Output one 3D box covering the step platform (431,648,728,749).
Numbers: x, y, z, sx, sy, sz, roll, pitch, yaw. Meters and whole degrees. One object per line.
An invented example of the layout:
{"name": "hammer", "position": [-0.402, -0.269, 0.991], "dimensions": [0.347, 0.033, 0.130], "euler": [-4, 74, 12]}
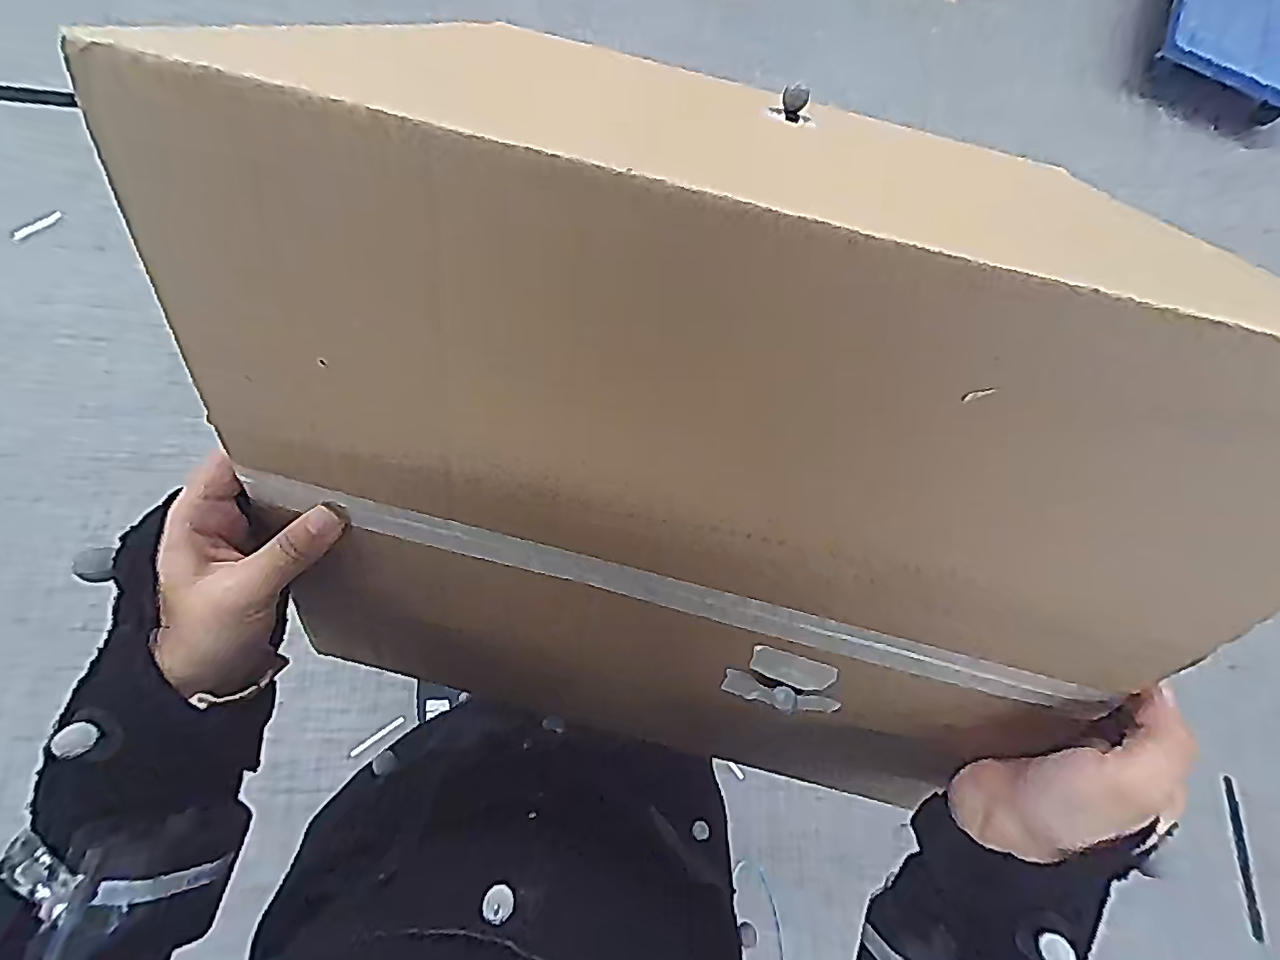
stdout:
{"name": "step platform", "position": [-0.124, 0.426, 1.271], "dimensions": [0.684, 0.204, 0.286], "euler": [10, 77, -4]}
